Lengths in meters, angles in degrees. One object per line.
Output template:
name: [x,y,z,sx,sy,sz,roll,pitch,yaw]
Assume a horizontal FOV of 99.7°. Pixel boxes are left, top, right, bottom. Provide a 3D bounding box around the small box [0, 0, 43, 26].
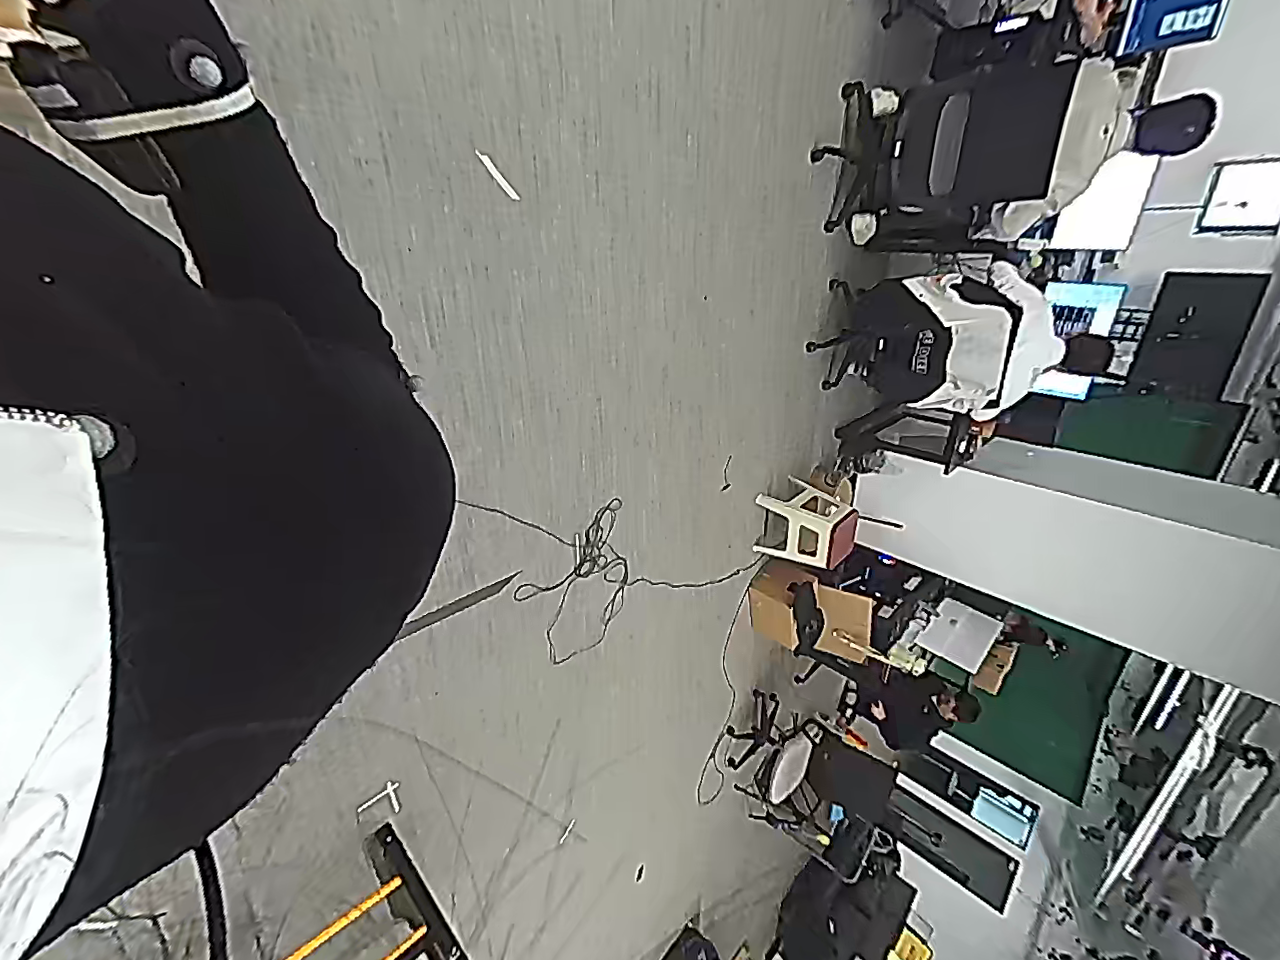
small box: [-0.692,-0.533,0.478,0.179,0.176,0.168,-25,126,-41]
